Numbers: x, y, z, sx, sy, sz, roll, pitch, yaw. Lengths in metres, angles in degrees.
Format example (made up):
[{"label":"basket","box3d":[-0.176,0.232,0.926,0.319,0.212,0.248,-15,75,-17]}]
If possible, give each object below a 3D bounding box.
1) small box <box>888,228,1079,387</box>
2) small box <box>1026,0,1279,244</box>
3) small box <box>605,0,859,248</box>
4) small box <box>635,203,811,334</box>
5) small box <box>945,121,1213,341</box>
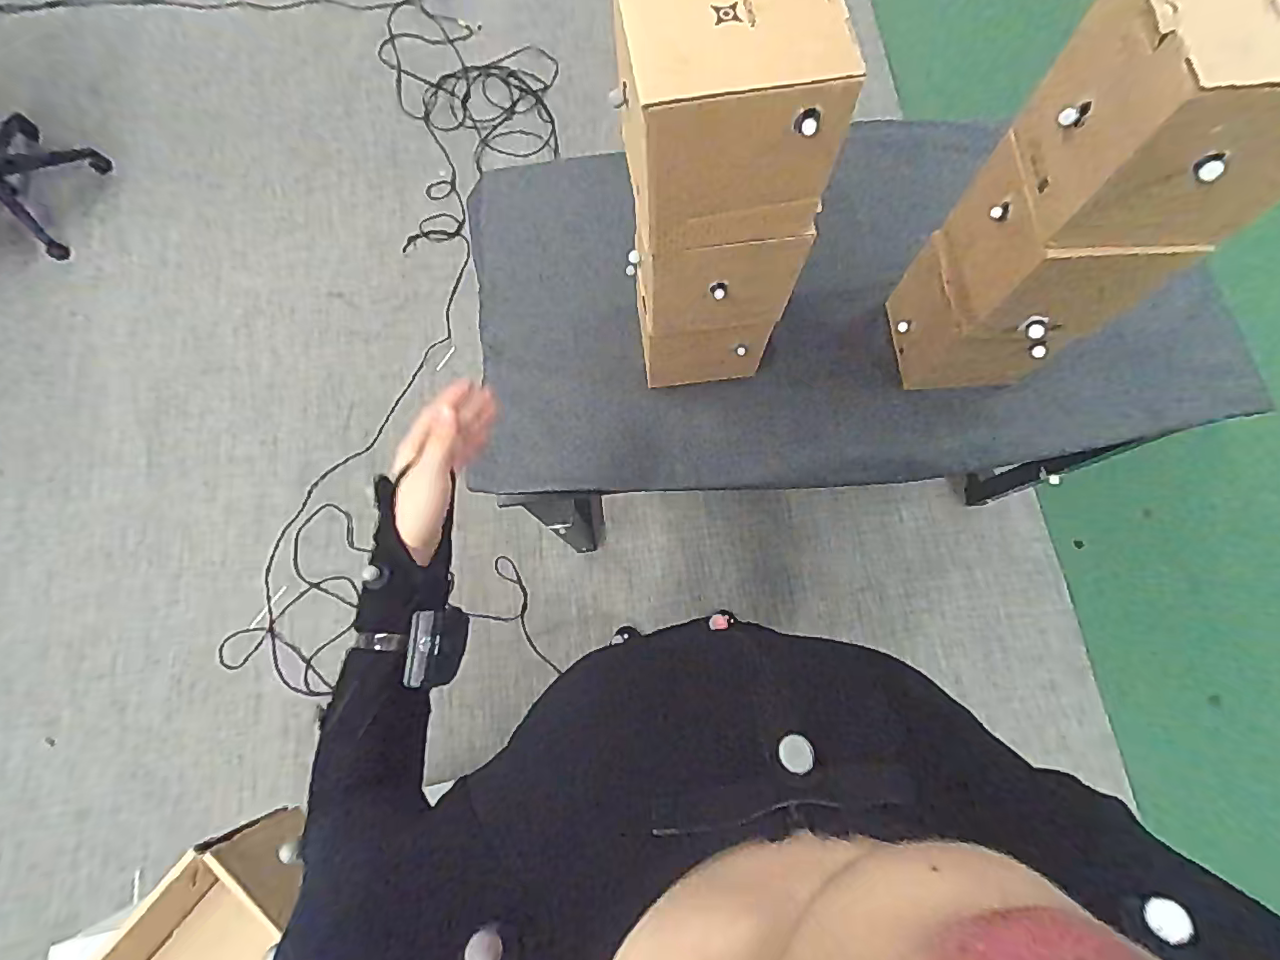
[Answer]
[{"label":"small box","box3d":[0.495,-0.247,0.794,0.179,0.176,0.168,-3,74,2]},{"label":"small box","box3d":[0.481,-0.332,0.479,0.179,0.176,0.168,0,74,4]},{"label":"small box","box3d":[0.070,-0.341,0.500,0.179,0.176,0.168,-9,74,-1]},{"label":"small box","box3d":[0.086,-0.298,0.656,0.179,0.176,0.168,-7,74,1]},{"label":"small box","box3d":[0.487,-0.285,0.636,0.168,0.176,0.179,-2,75,4]}]
